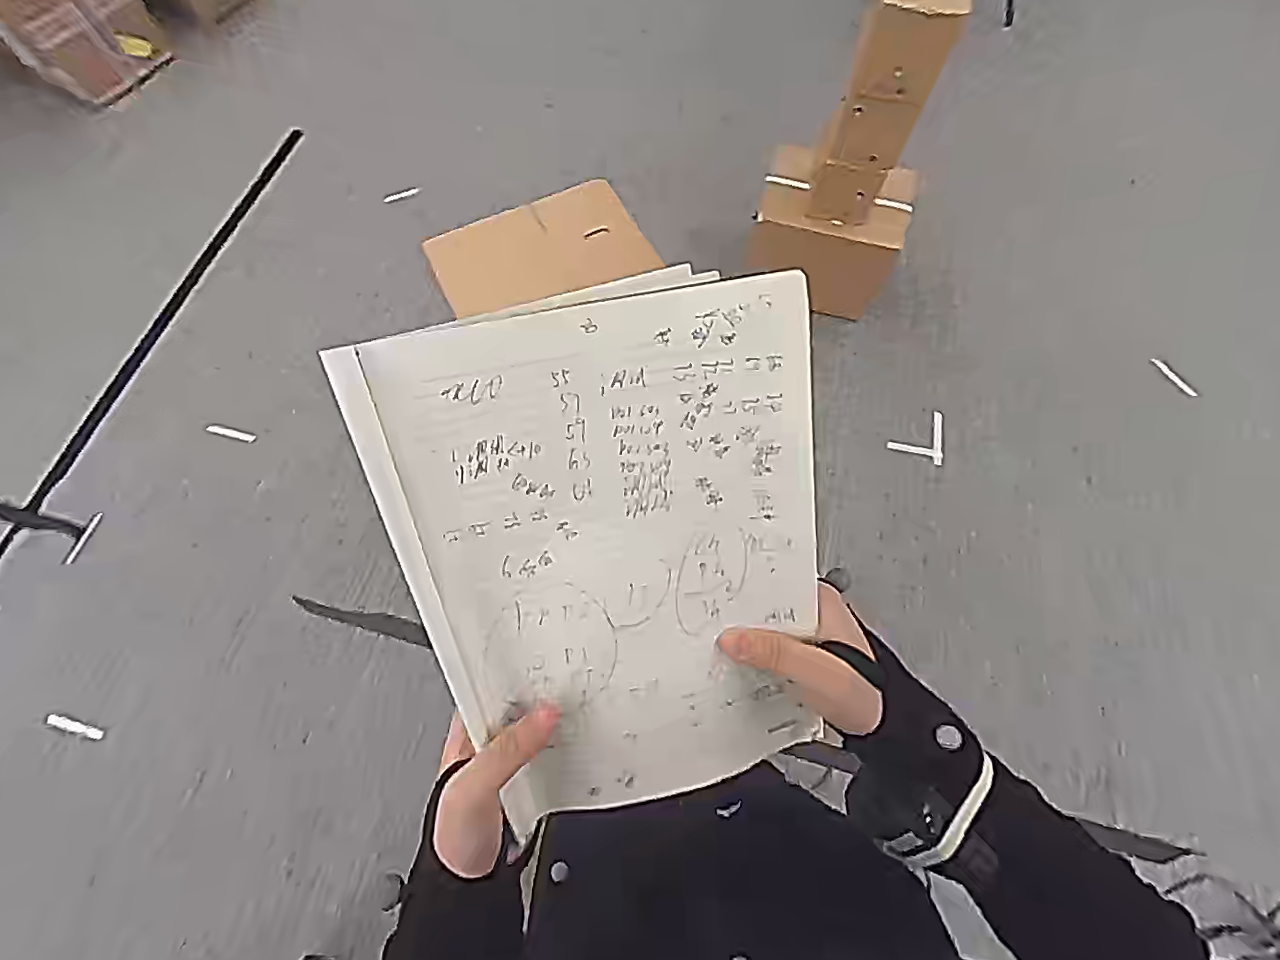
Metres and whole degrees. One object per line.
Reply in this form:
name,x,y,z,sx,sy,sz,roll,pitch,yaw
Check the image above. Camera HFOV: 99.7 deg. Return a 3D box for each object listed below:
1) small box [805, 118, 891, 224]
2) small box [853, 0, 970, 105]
small box,0.547,-0.813,1.434,0.168,0.176,0.179,11,68,3
small box,0.560,-0.933,1.127,0.168,0.176,0.179,13,69,5
